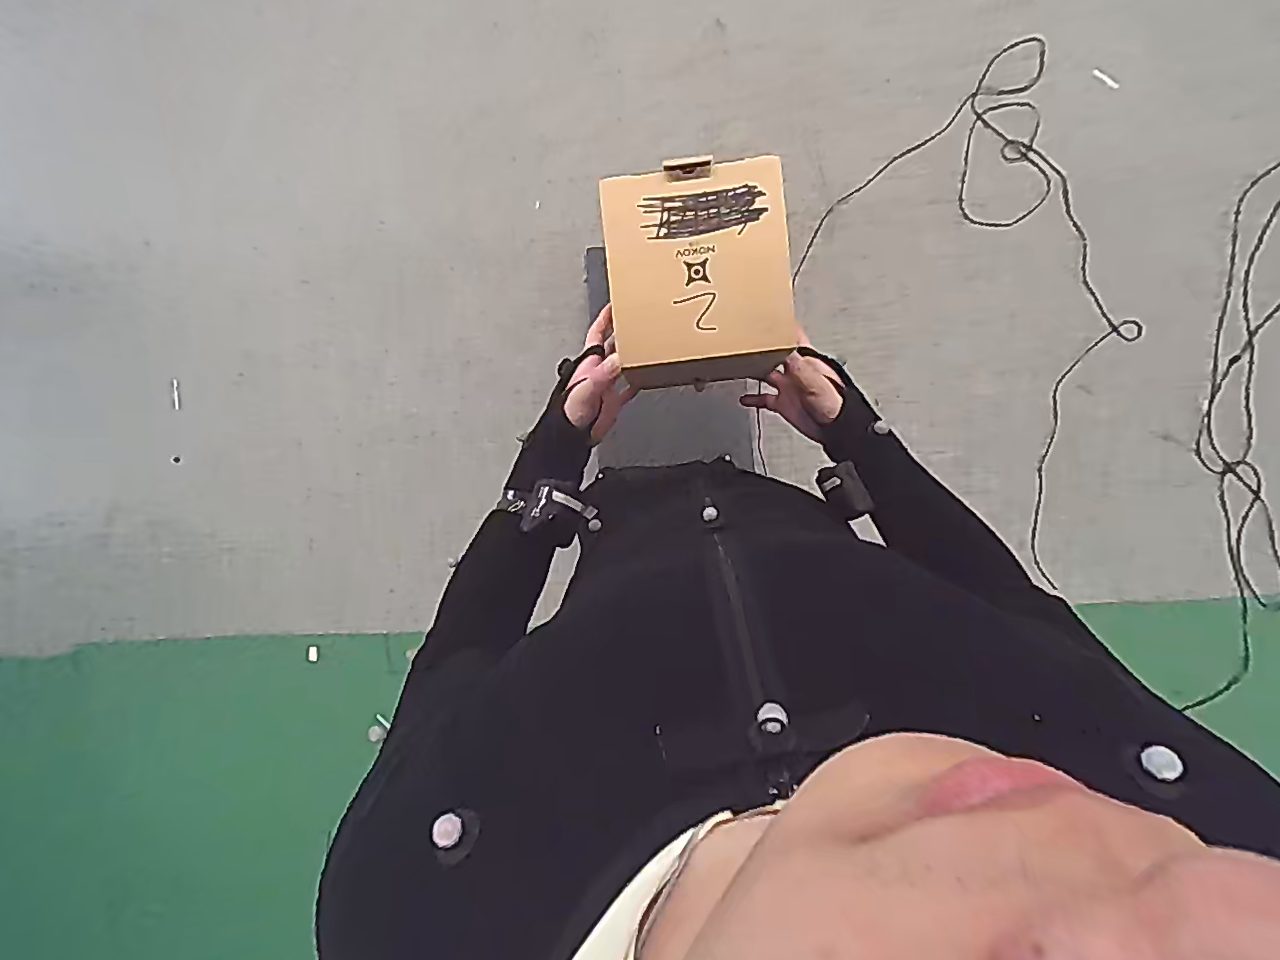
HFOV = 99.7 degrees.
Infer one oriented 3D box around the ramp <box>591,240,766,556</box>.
[{"bbox_3d":[0.106,-0.274,1.709,0.509,0.206,0.991,-6,91,5],"label":"ramp"}]
